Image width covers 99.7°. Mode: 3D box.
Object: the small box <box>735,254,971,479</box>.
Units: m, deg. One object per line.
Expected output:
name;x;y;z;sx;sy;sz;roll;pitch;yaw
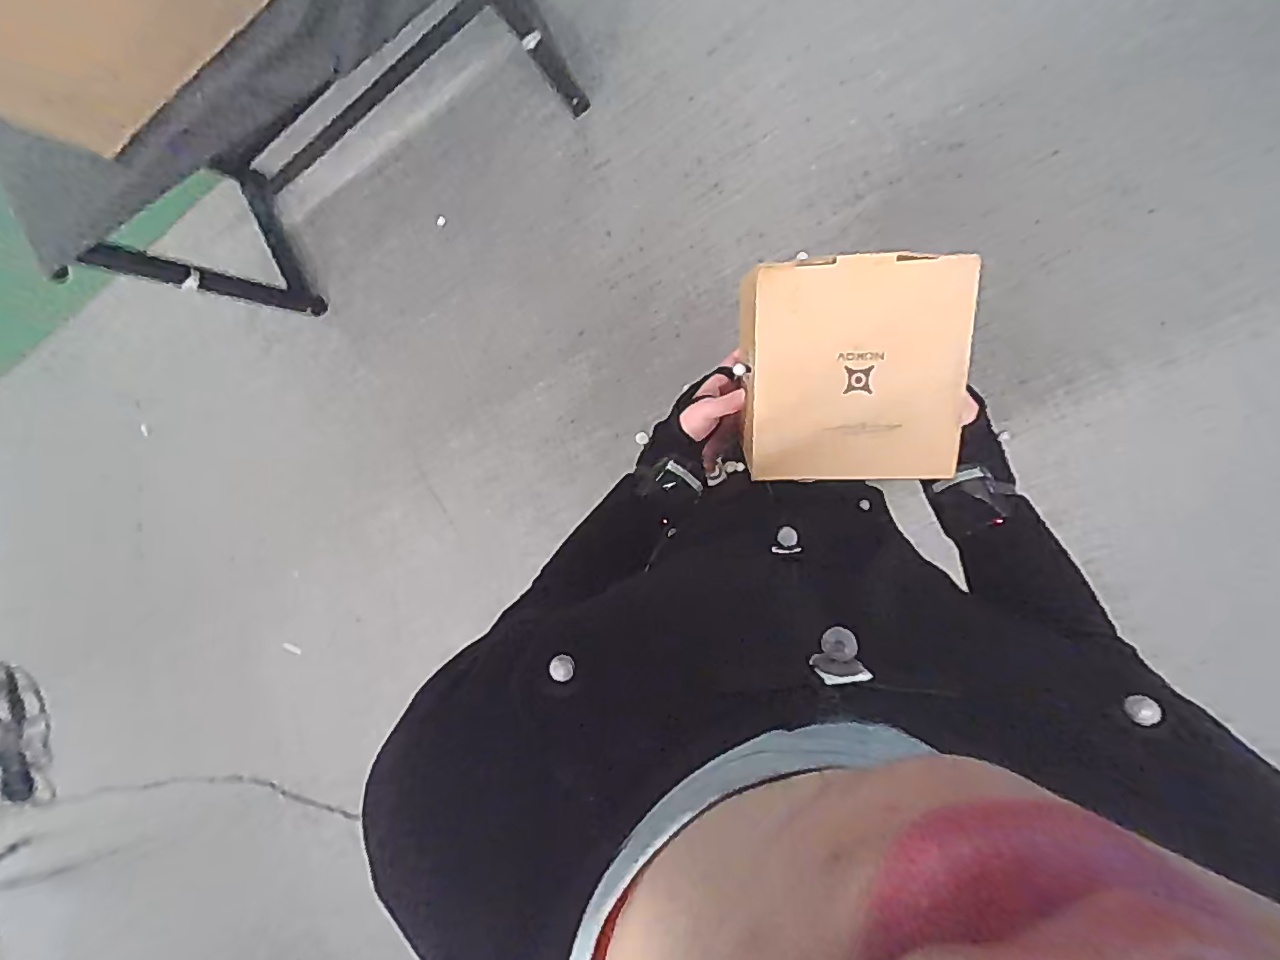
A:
small box;0.177;-0.106;0.509;0.168;0.176;0.179;0;107;7
